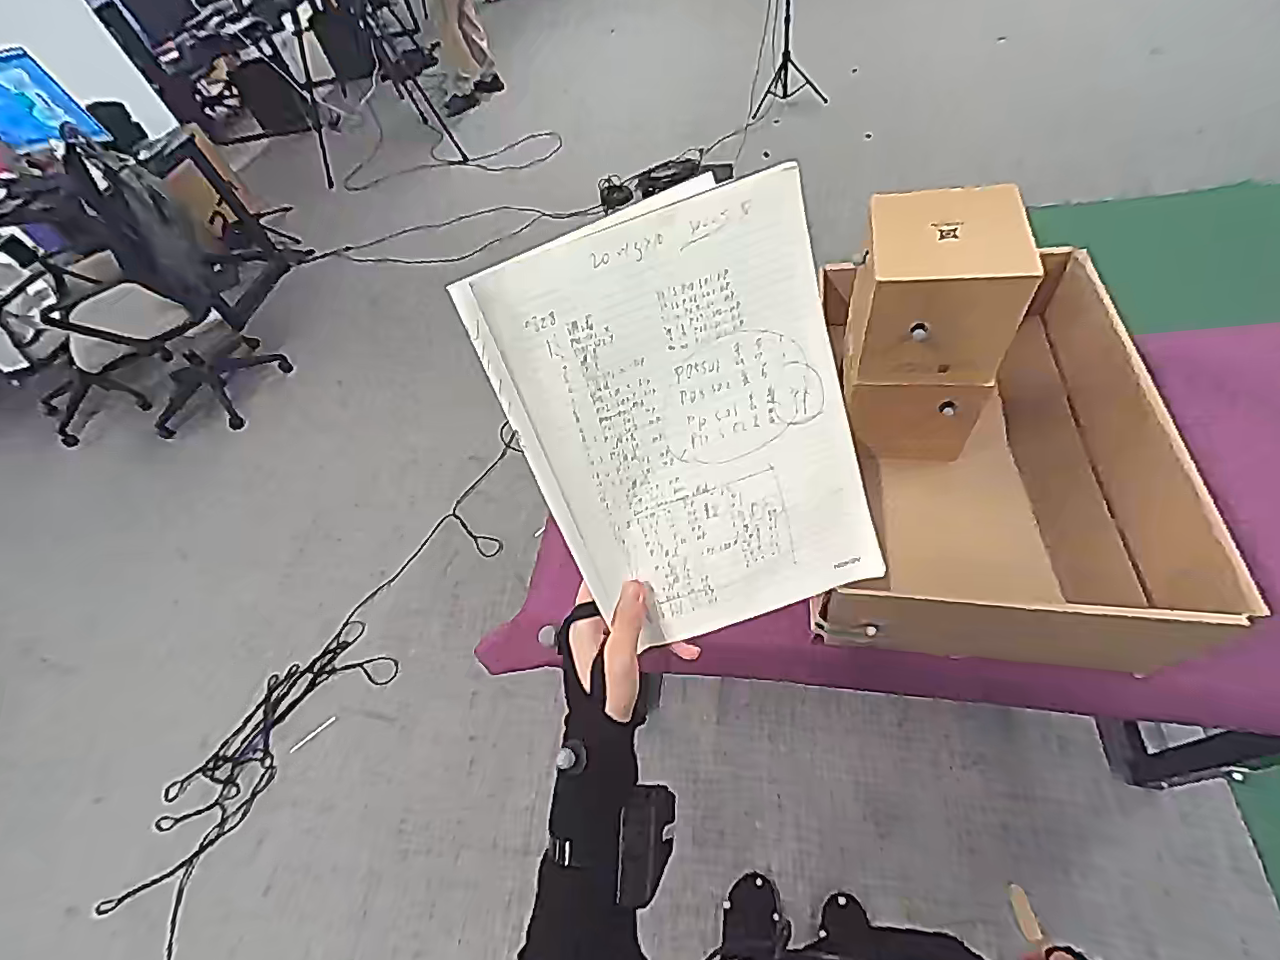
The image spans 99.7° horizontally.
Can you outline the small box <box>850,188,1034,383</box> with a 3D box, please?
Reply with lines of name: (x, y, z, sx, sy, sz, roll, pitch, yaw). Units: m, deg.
small box: (0.367, -0.239, 0.693, 0.168, 0.176, 0.179, 3, 56, 15)
